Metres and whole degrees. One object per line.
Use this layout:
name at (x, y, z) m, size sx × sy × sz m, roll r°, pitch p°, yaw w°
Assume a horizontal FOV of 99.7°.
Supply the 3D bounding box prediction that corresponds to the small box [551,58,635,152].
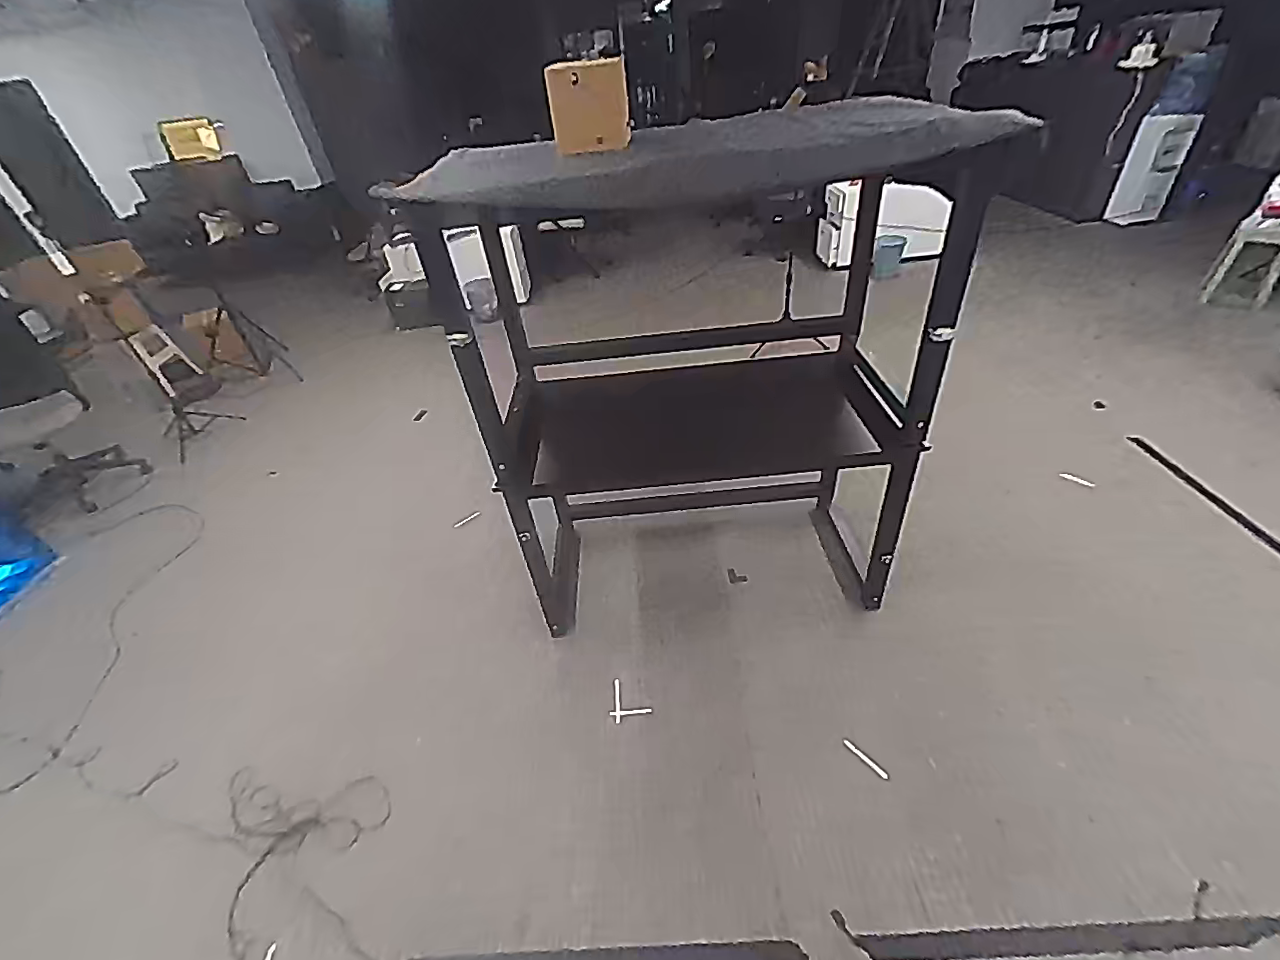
small box at (-0.103, -0.895, 1.295) m, size 0.168 × 0.176 × 0.179 m, roll -2°, pitch 39°, yaw 6°
